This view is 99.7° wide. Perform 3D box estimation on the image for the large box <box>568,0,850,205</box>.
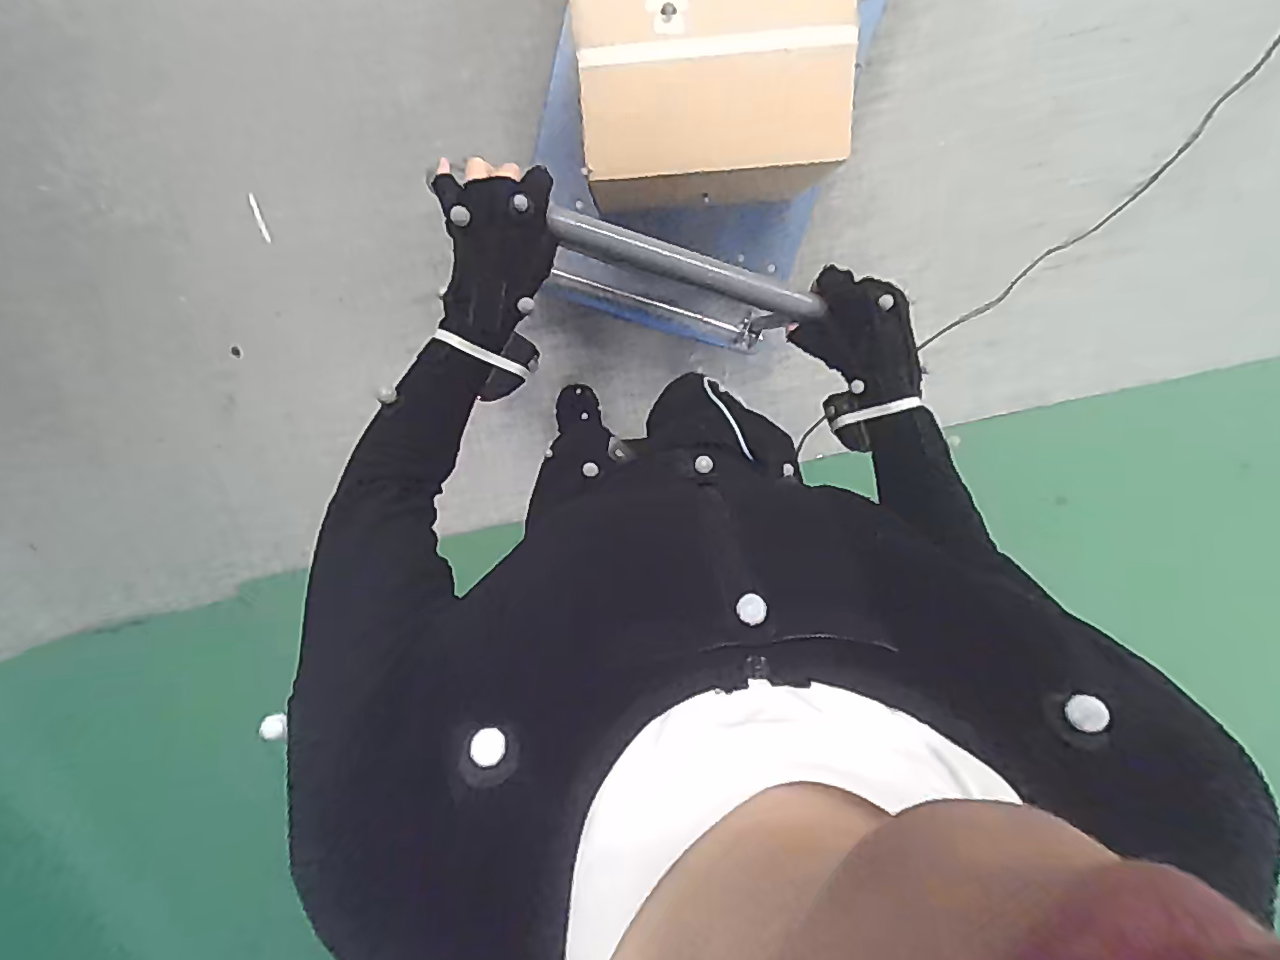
[{"bbox_3d":[0.105,-0.675,0.920,0.408,0.320,0.320,-4,107,2],"label":"large box"}]
